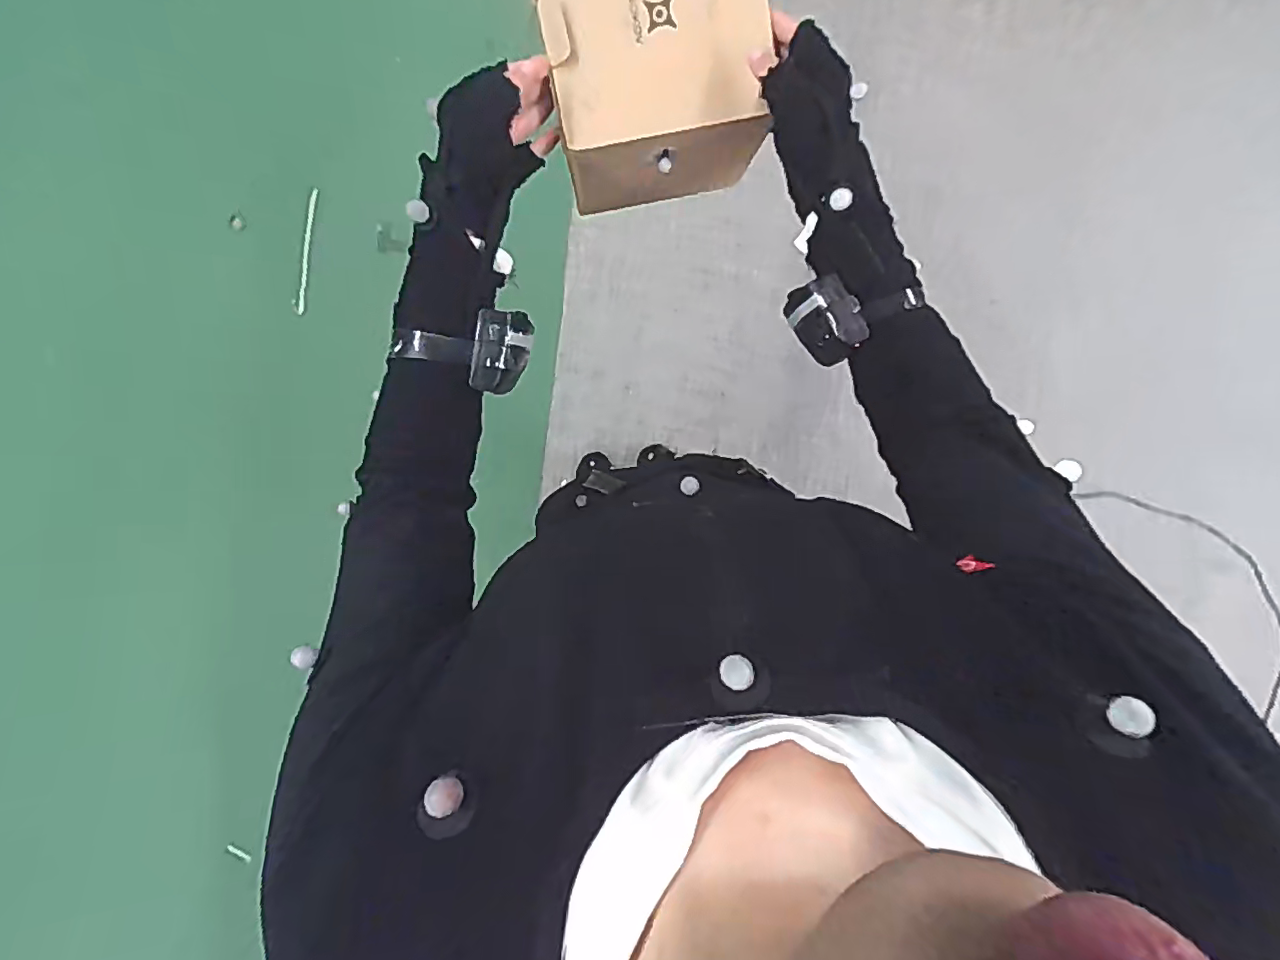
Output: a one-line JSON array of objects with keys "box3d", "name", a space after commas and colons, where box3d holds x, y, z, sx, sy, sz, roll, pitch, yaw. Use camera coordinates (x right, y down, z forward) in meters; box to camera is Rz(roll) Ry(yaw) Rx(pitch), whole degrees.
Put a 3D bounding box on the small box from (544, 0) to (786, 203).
[{"box3d": [0.013, -0.372, 0.488, 0.179, 0.176, 0.168, -11, 101, -2], "name": "small box"}]
